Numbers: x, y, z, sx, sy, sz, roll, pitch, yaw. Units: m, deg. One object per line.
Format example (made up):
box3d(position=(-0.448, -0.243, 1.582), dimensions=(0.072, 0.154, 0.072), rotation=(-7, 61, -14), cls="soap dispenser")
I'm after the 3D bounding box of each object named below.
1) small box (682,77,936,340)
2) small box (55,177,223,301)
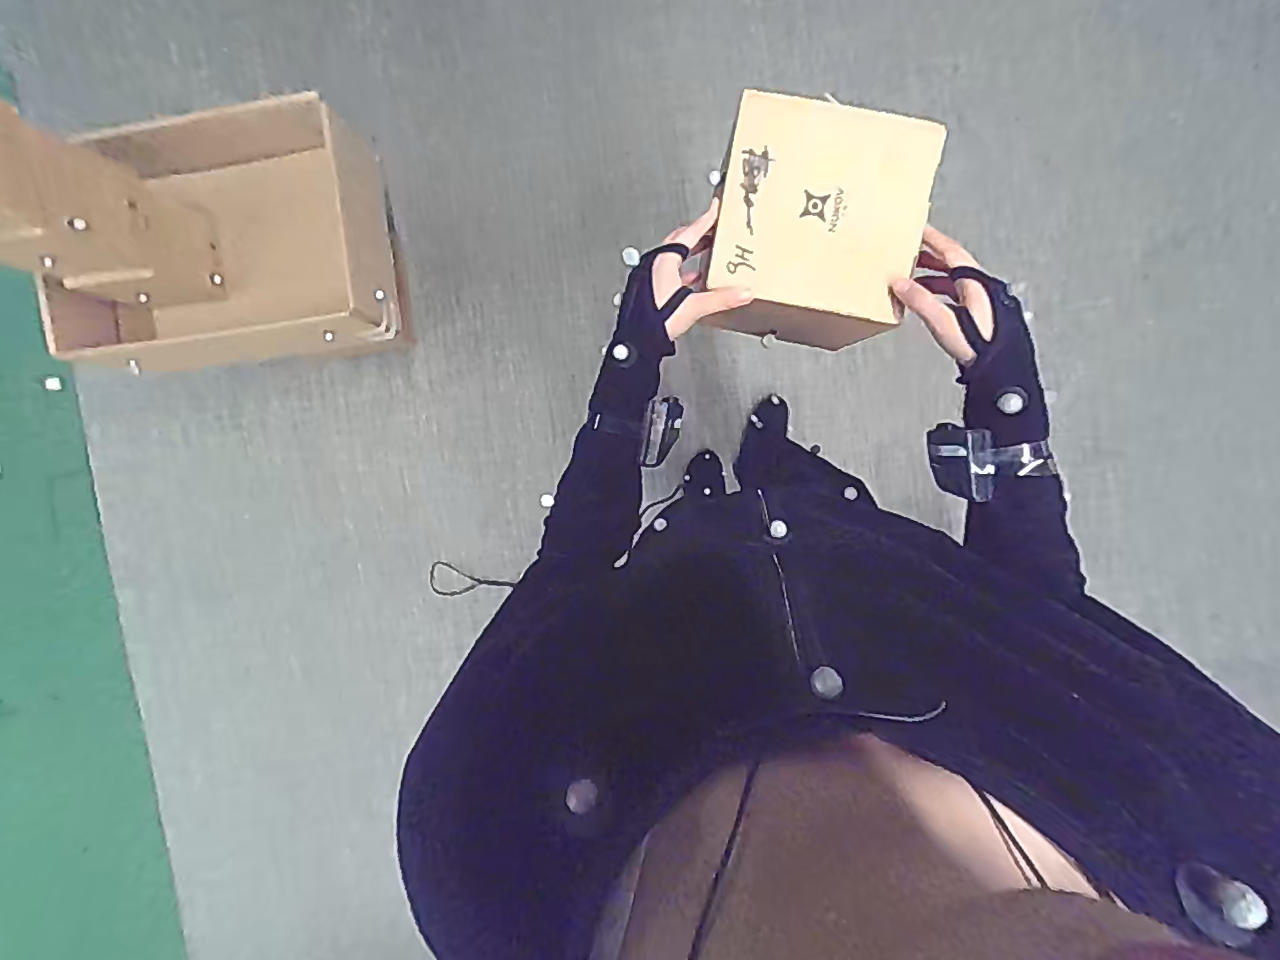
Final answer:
box3d(position=(0.146, -0.243, 0.531), dimensions=(0.179, 0.176, 0.168), rotation=(10, 95, -1), cls="small box")
box3d(position=(-0.955, -0.458, 1.052), dimensions=(0.179, 0.176, 0.168), rotation=(-5, 93, 4), cls="small box")
